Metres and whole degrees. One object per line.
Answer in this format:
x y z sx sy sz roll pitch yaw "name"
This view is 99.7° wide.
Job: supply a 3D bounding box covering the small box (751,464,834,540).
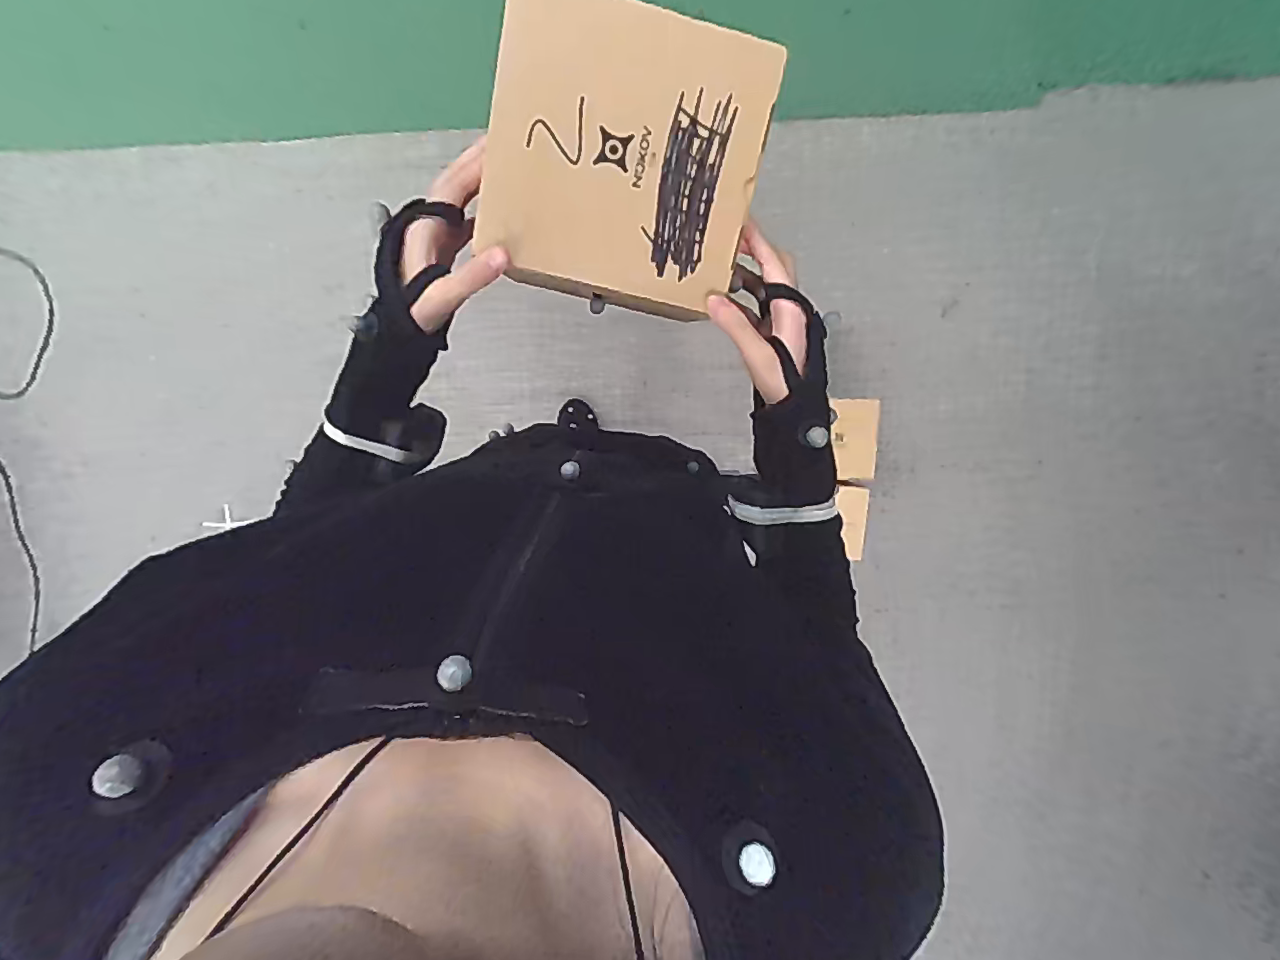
0.397 0.053 1.429 0.179 0.176 0.168 -3 100 3 "small box"
